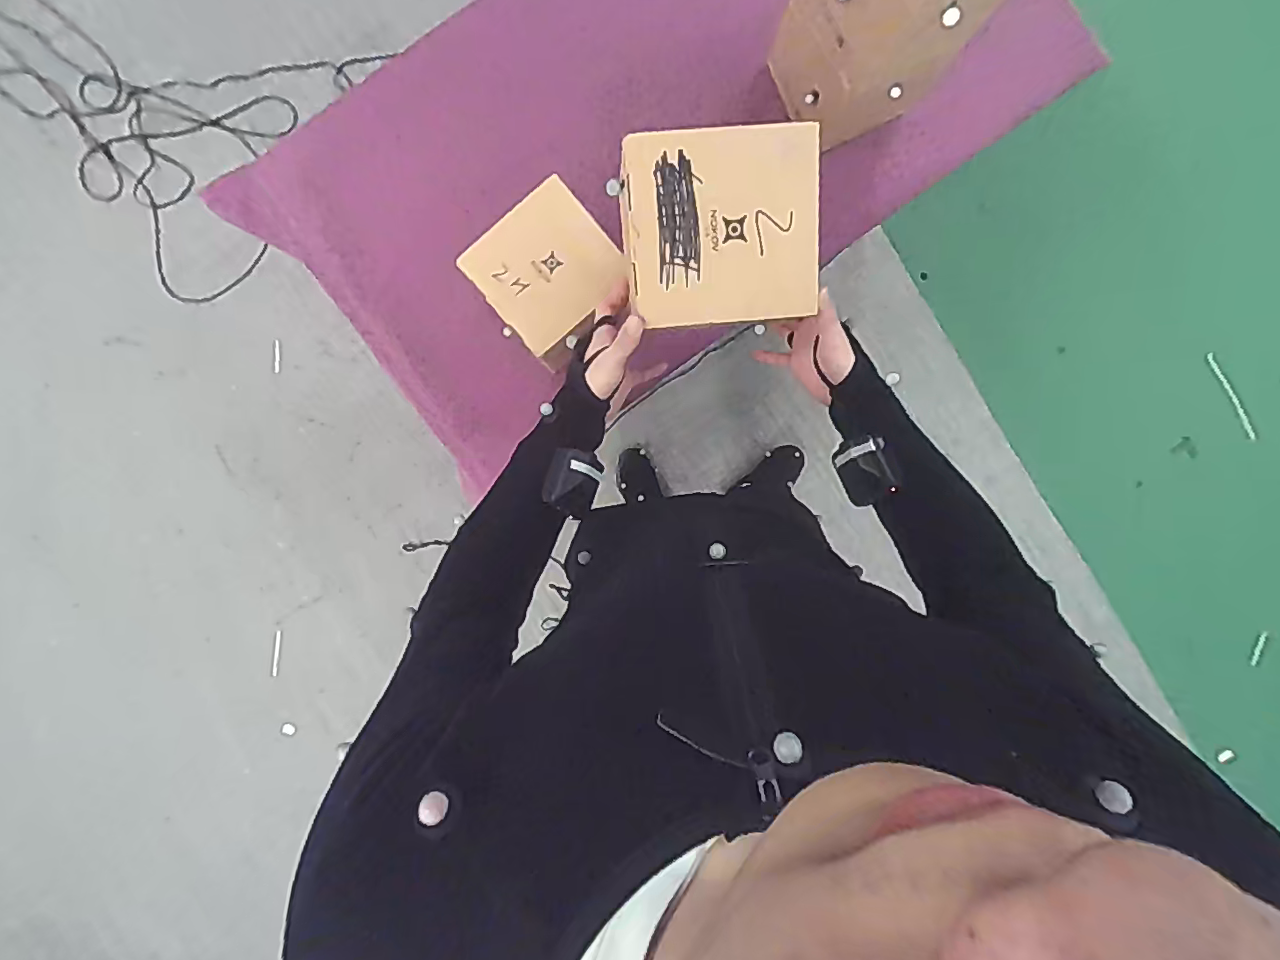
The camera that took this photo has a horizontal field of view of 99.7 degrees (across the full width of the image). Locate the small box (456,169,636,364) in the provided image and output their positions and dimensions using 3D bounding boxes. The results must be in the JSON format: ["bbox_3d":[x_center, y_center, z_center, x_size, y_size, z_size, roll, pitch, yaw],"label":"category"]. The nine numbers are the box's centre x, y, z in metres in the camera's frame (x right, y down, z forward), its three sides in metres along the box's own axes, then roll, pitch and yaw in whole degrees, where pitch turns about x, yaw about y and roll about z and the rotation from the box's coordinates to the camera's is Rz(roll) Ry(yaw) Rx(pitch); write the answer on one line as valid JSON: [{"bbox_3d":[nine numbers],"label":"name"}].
[{"bbox_3d":[-0.125,-0.290,0.777,0.179,0.176,0.168,-41,95,2],"label":"small box"}]

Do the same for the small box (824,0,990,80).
[{"bbox_3d":[0.316,-0.603,0.601,0.179,0.176,0.168,-28,96,2],"label":"small box"}]

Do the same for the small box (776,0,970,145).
[{"bbox_3d":[0.310,-0.619,0.764,0.179,0.176,0.168,-25,96,0],"label":"small box"}]
